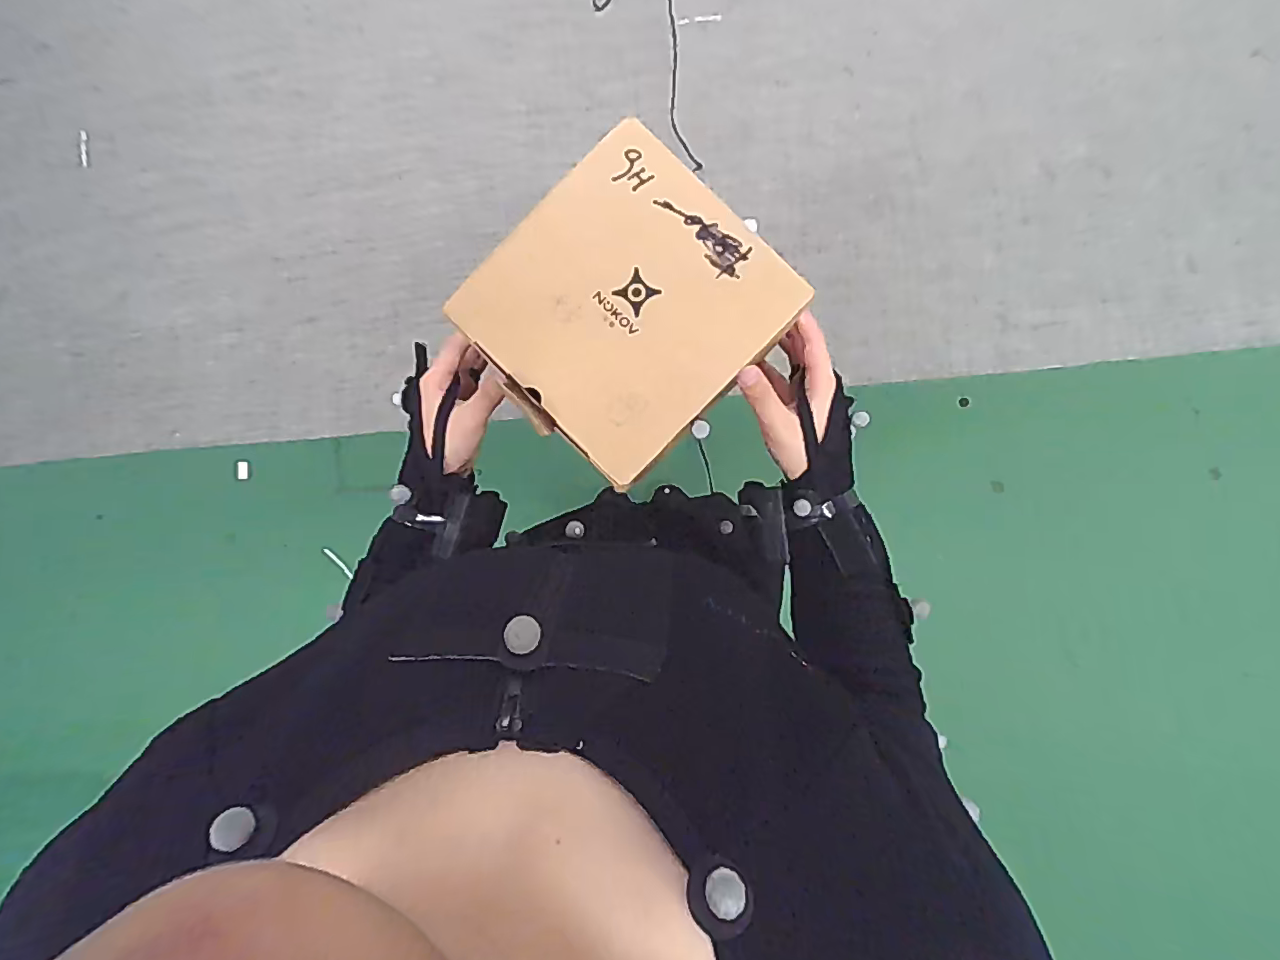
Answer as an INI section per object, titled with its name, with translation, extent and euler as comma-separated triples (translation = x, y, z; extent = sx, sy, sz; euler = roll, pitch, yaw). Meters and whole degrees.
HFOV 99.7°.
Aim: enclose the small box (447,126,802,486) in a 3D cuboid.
[small box]
translation = -0.007, -0.111, 0.427
extent = 0.168, 0.176, 0.179
euler = 45, 92, 2
